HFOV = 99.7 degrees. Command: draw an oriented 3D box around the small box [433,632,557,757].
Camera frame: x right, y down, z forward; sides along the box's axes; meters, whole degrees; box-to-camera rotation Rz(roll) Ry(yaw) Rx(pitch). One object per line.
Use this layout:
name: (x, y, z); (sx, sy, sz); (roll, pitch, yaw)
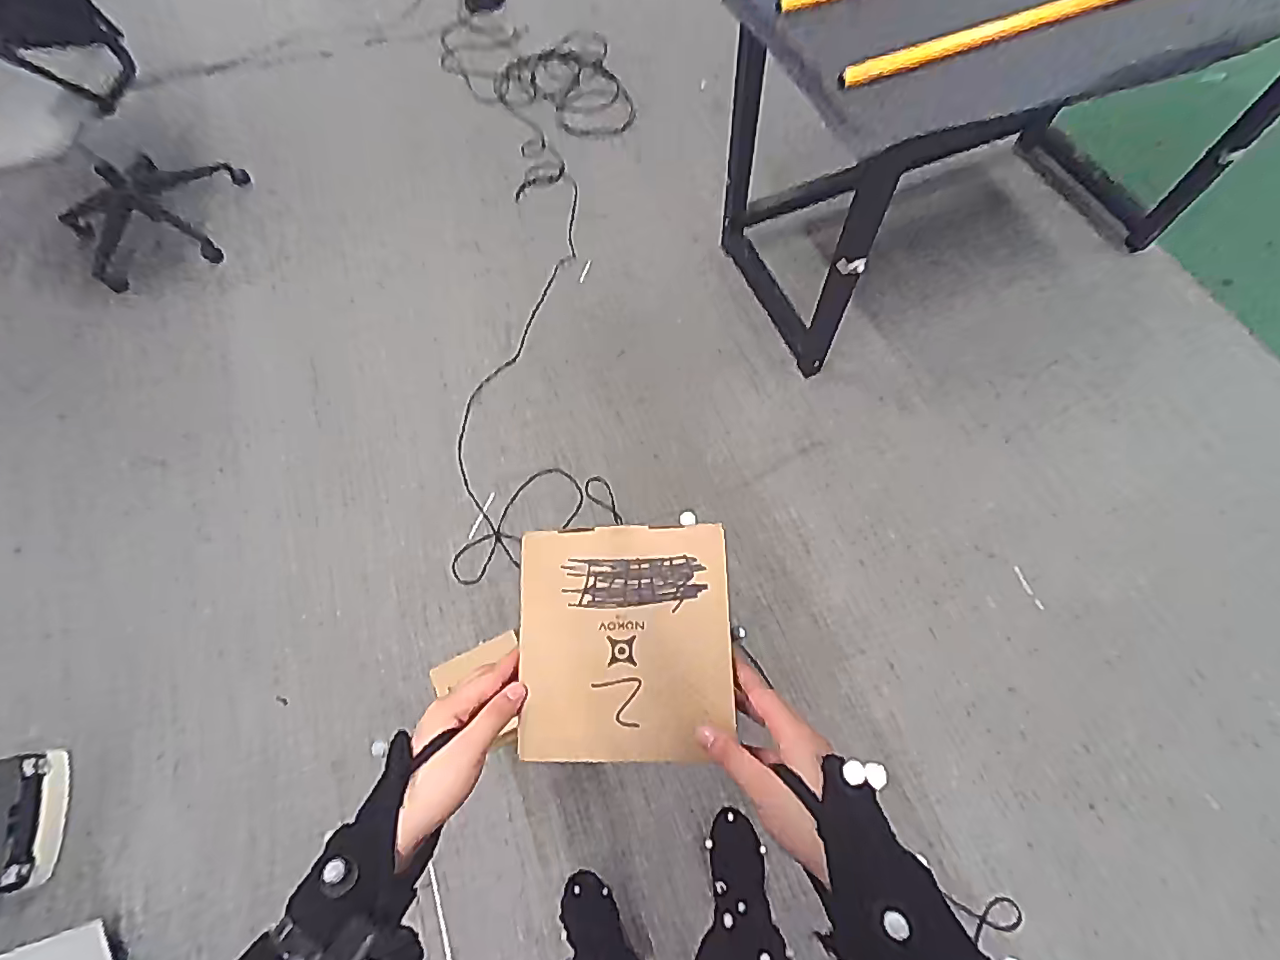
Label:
small box: (-0.276, 0.422, 1.076); (0.179, 0.176, 0.168); (-25, 68, -6)

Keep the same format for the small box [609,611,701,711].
small box: (0.036, 0.416, 1.236); (0.168, 0.176, 0.179); (-15, 67, -3)
